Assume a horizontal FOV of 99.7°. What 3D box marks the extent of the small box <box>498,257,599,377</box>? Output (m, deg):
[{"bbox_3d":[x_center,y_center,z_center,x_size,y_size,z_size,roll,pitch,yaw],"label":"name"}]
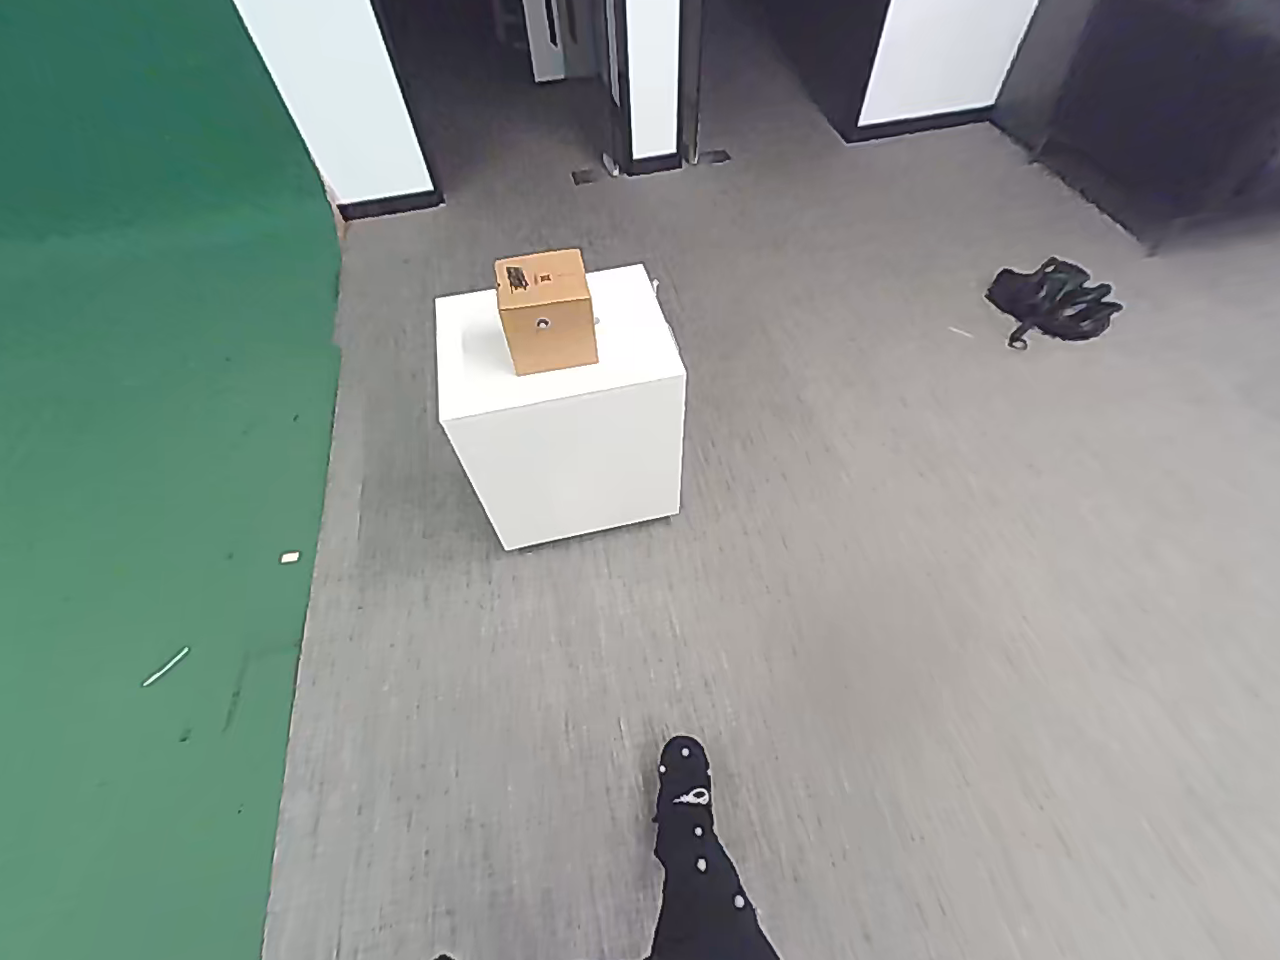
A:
[{"bbox_3d":[-0.187,-0.333,1.125,0.179,0.176,0.168,-10,55,-5],"label":"small box"}]
